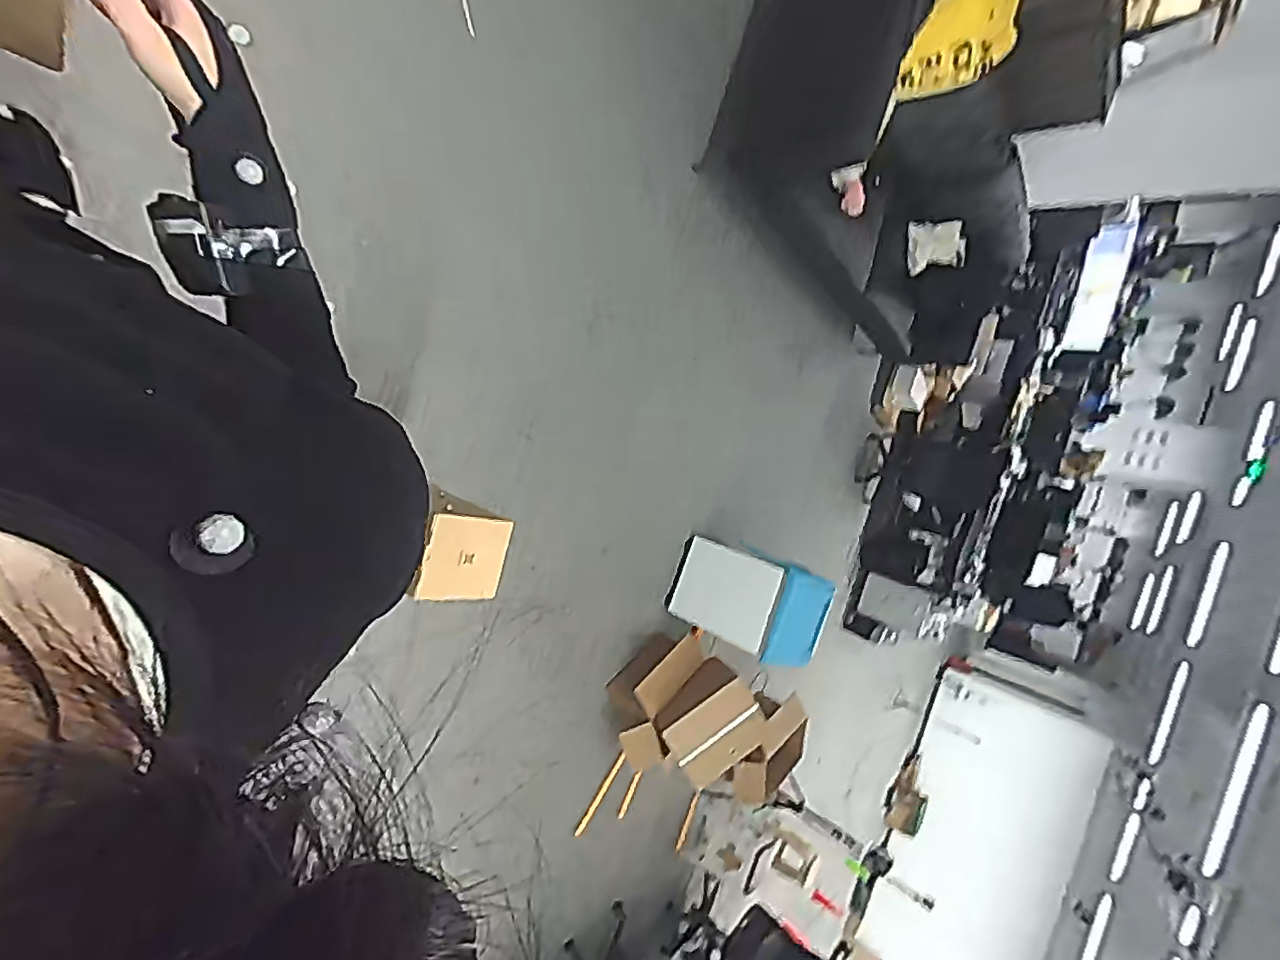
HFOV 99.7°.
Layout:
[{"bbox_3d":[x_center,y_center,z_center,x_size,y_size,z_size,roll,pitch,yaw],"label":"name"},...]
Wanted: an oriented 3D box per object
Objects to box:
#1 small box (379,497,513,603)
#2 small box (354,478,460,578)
[{"bbox_3d":[-0.391,0.139,1.088,0.179,0.176,0.168,13,93,-48],"label":"small box"},{"bbox_3d":[-0.509,0.108,1.197,0.168,0.176,0.179,13,93,-49],"label":"small box"}]
